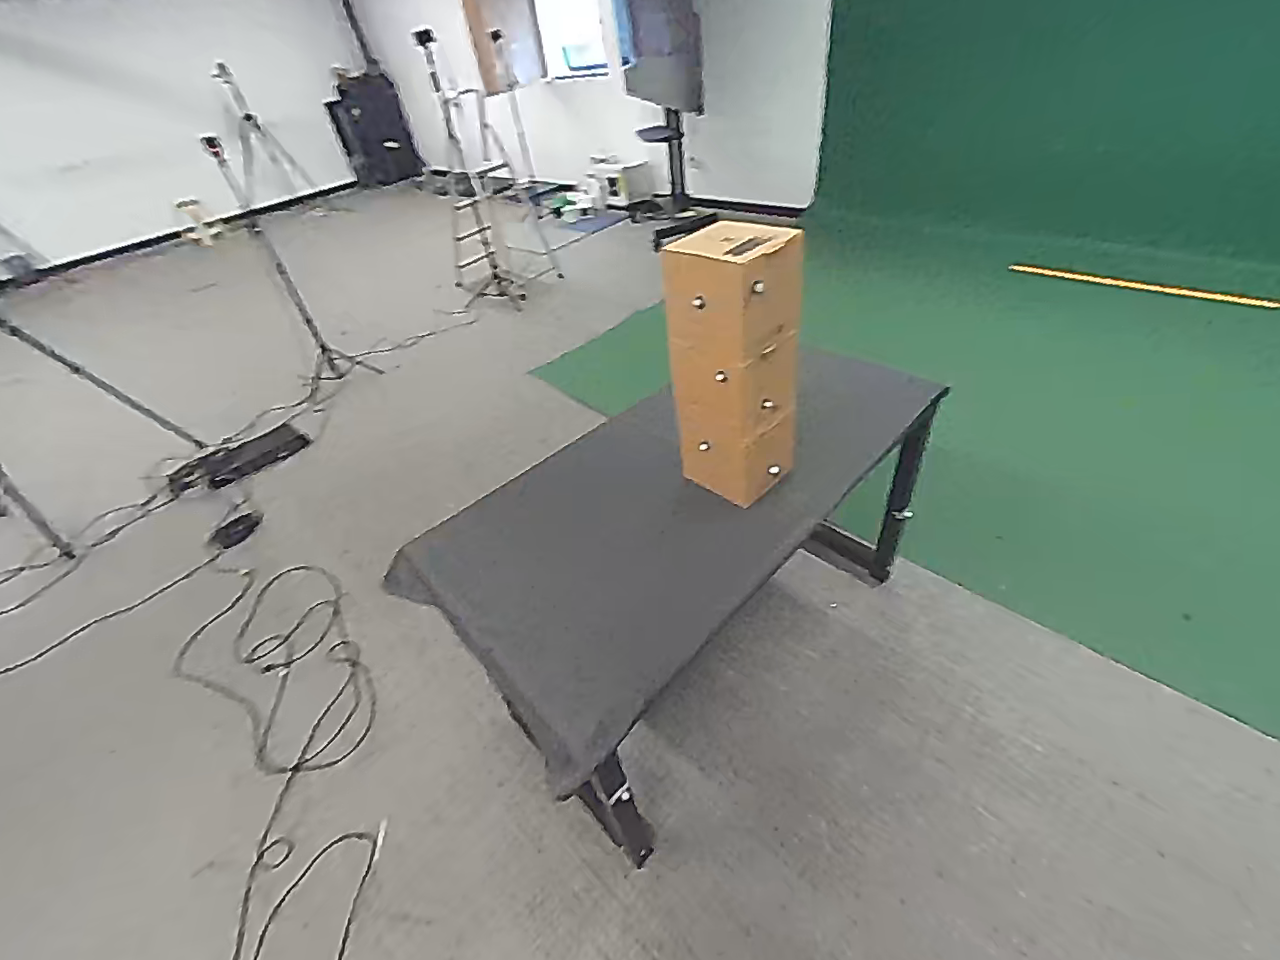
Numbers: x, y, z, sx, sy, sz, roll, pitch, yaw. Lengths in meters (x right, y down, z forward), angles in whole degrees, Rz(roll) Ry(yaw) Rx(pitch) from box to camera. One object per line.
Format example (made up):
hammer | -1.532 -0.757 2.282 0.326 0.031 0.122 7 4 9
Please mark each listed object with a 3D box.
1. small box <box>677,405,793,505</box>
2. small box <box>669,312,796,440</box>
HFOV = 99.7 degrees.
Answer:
small box | 0.200 -0.076 1.145 0.168 0.176 0.179 -36 47 -28
small box | 0.176 -0.201 1.045 0.168 0.176 0.179 -35 47 -29
